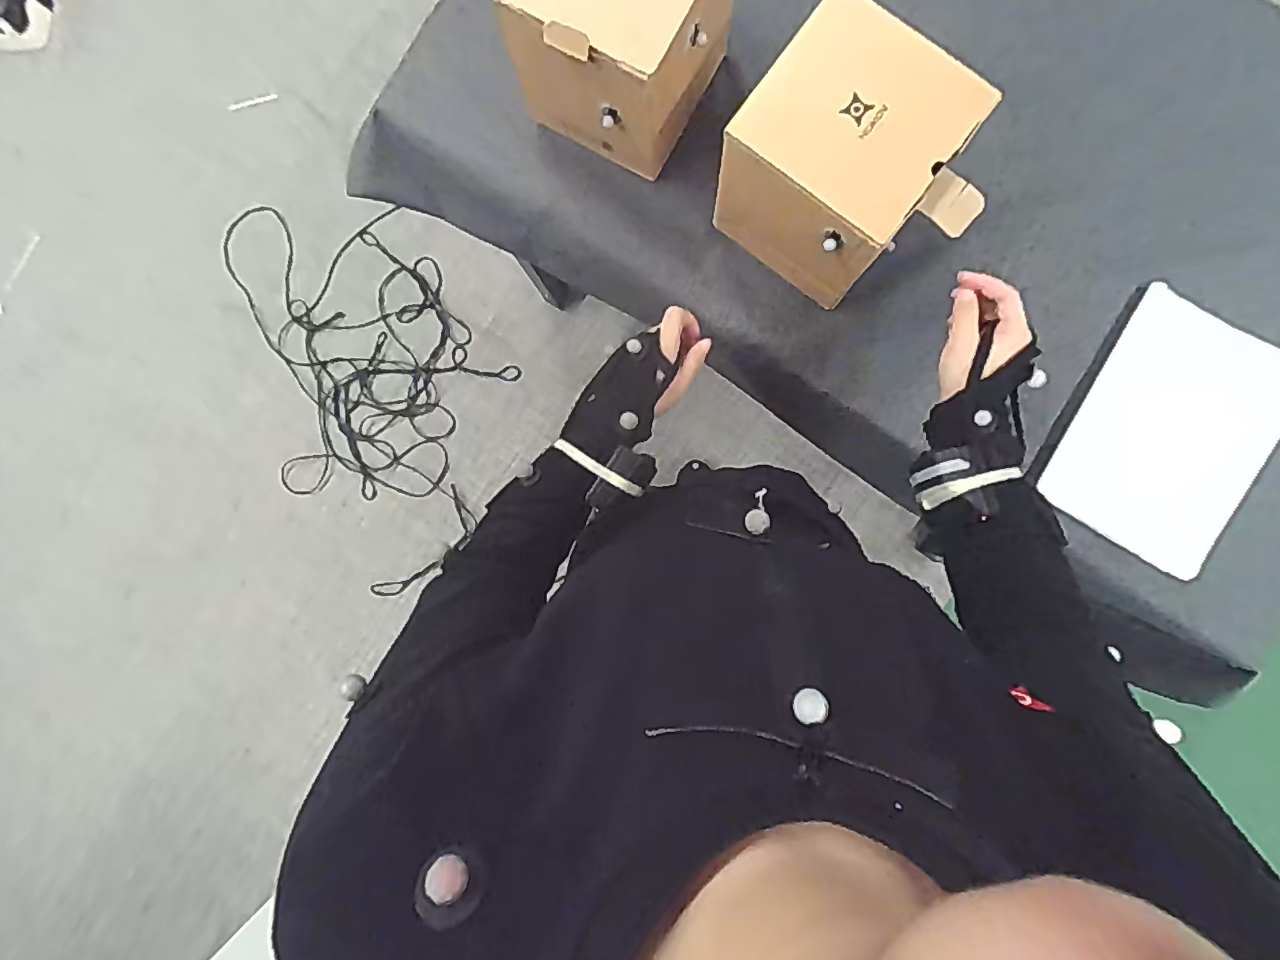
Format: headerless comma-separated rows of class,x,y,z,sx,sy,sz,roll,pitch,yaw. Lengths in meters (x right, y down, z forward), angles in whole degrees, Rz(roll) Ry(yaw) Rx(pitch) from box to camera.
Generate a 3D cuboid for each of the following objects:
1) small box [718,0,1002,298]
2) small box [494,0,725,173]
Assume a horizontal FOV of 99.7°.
small box,0.195,-0.314,0.542,0.179,0.176,0.168,38,91,3
small box,-0.017,-0.465,0.558,0.168,0.176,0.179,29,90,2
